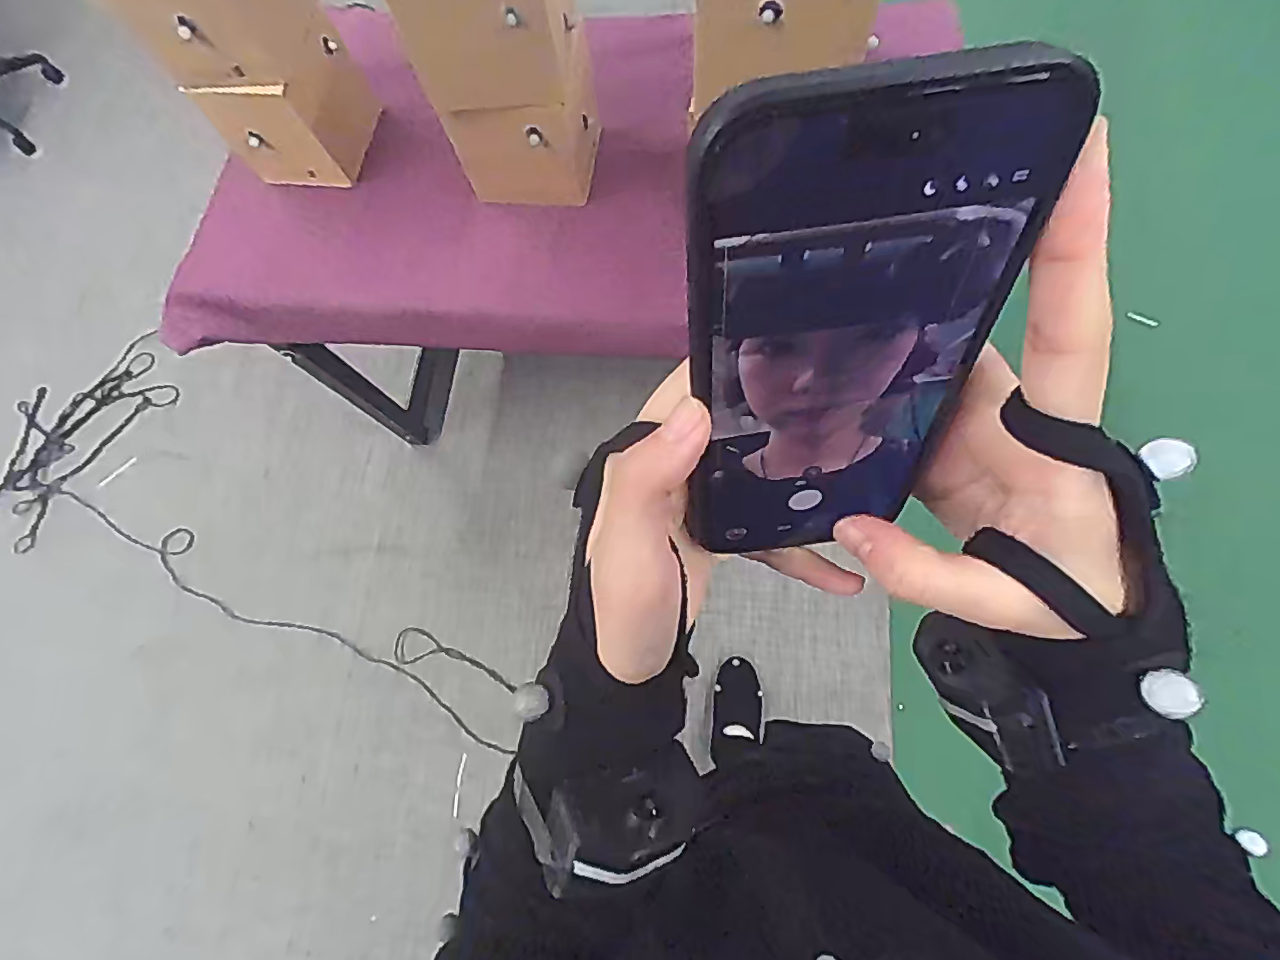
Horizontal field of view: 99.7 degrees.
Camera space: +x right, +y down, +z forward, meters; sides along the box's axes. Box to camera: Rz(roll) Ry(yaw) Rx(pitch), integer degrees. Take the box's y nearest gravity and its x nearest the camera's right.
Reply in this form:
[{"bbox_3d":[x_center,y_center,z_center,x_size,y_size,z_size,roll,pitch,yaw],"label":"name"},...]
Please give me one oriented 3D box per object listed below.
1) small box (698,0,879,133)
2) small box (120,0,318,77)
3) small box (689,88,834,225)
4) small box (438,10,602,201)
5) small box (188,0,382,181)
[{"bbox_3d":[0.163,-0.515,0.585,0.179,0.176,0.168,13,75,9],"label":"small box"},{"bbox_3d":[-0.556,-0.661,0.699,0.168,0.176,0.179,3,74,6],"label":"small box"},{"bbox_3d":[0.173,-0.483,0.746,0.179,0.176,0.168,13,75,10],"label":"small box"},{"bbox_3d":[-0.160,-0.539,0.794,0.179,0.176,0.168,7,74,8],"label":"small box"},{"bbox_3d":[-0.541,-0.606,0.854,0.168,0.176,0.179,8,74,8],"label":"small box"}]
